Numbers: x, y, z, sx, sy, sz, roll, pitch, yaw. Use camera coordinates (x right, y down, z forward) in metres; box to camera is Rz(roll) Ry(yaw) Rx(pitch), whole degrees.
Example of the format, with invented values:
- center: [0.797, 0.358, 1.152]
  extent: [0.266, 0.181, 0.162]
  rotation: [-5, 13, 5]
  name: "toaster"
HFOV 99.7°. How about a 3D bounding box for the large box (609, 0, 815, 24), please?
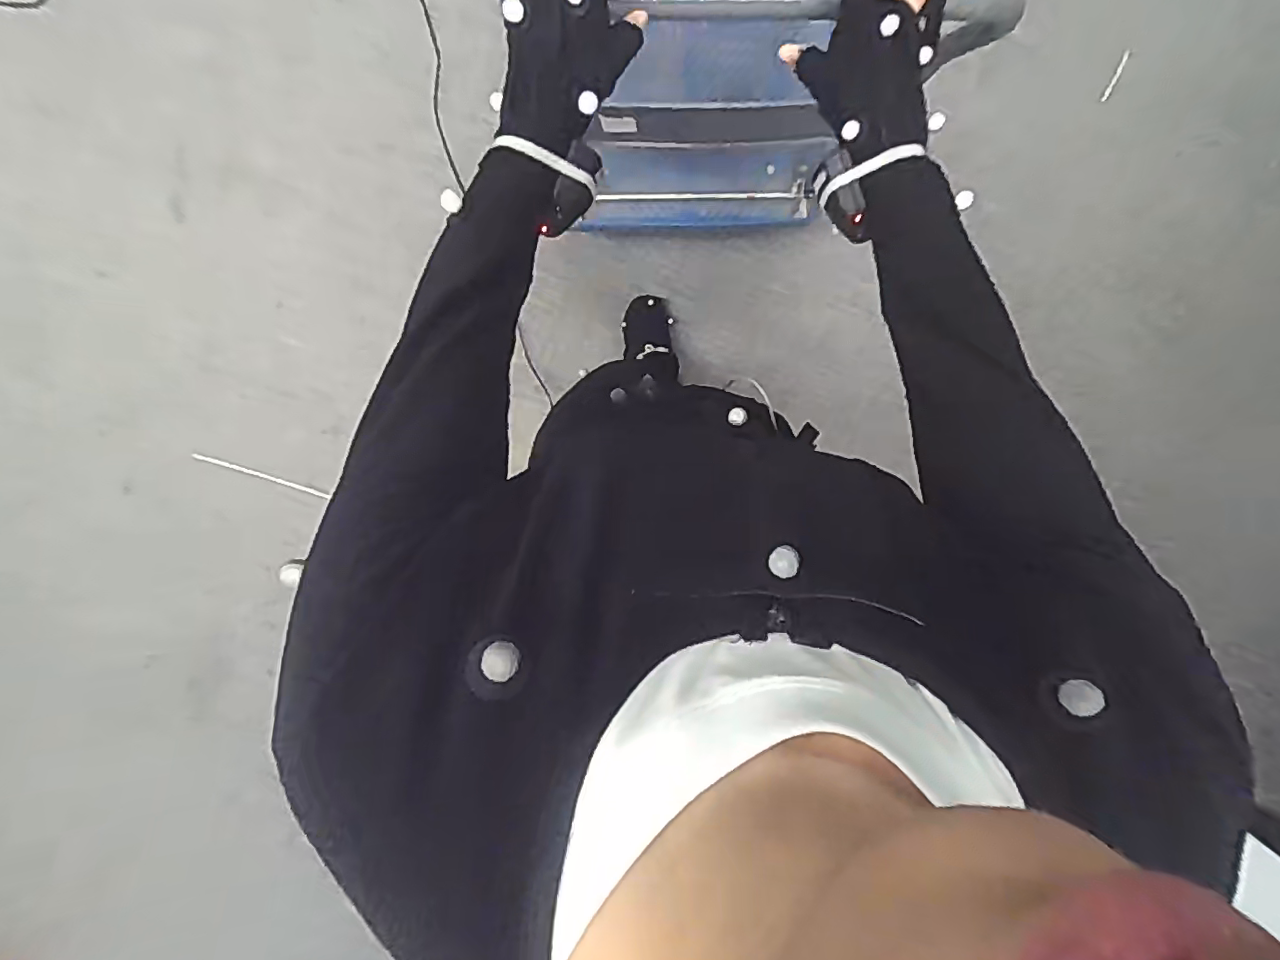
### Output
- center: [0.134, -1.021, 0.888]
  extent: [0.408, 0.320, 0.320]
  rotation: [-3, 104, 0]
  name: "large box"
